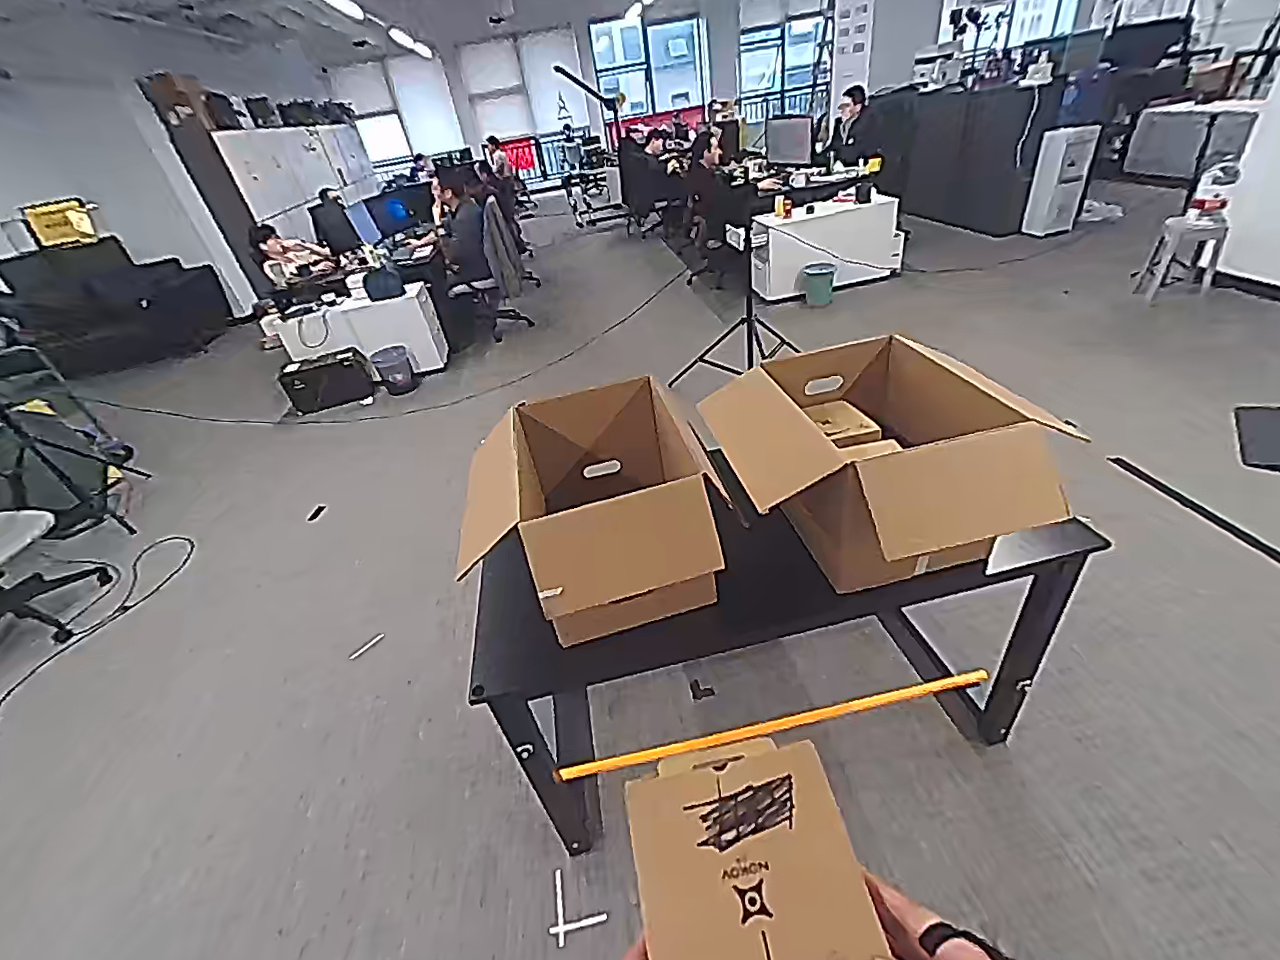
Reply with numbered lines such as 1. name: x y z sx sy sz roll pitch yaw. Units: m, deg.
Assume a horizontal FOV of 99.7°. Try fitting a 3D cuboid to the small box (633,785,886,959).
1. small box: 0.094 0.382 0.445 0.168 0.176 0.179 -12 48 -2
